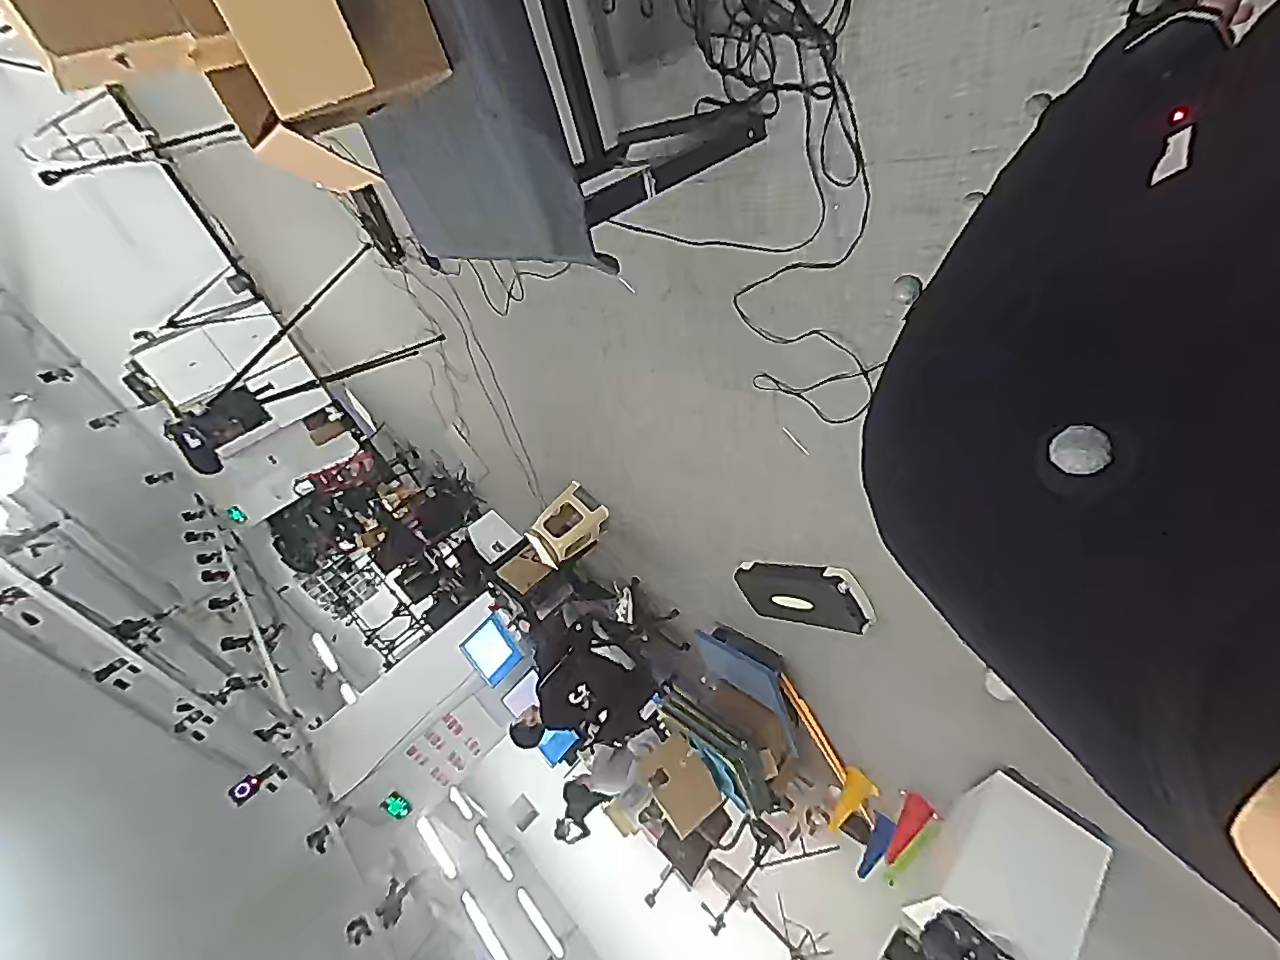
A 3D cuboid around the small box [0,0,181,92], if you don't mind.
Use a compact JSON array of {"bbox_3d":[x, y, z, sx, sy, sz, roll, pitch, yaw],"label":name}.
[{"bbox_3d":[-0.765,-0.660,0.726,0.179,0.176,0.168,19,139,46],"label":"small box"}]
